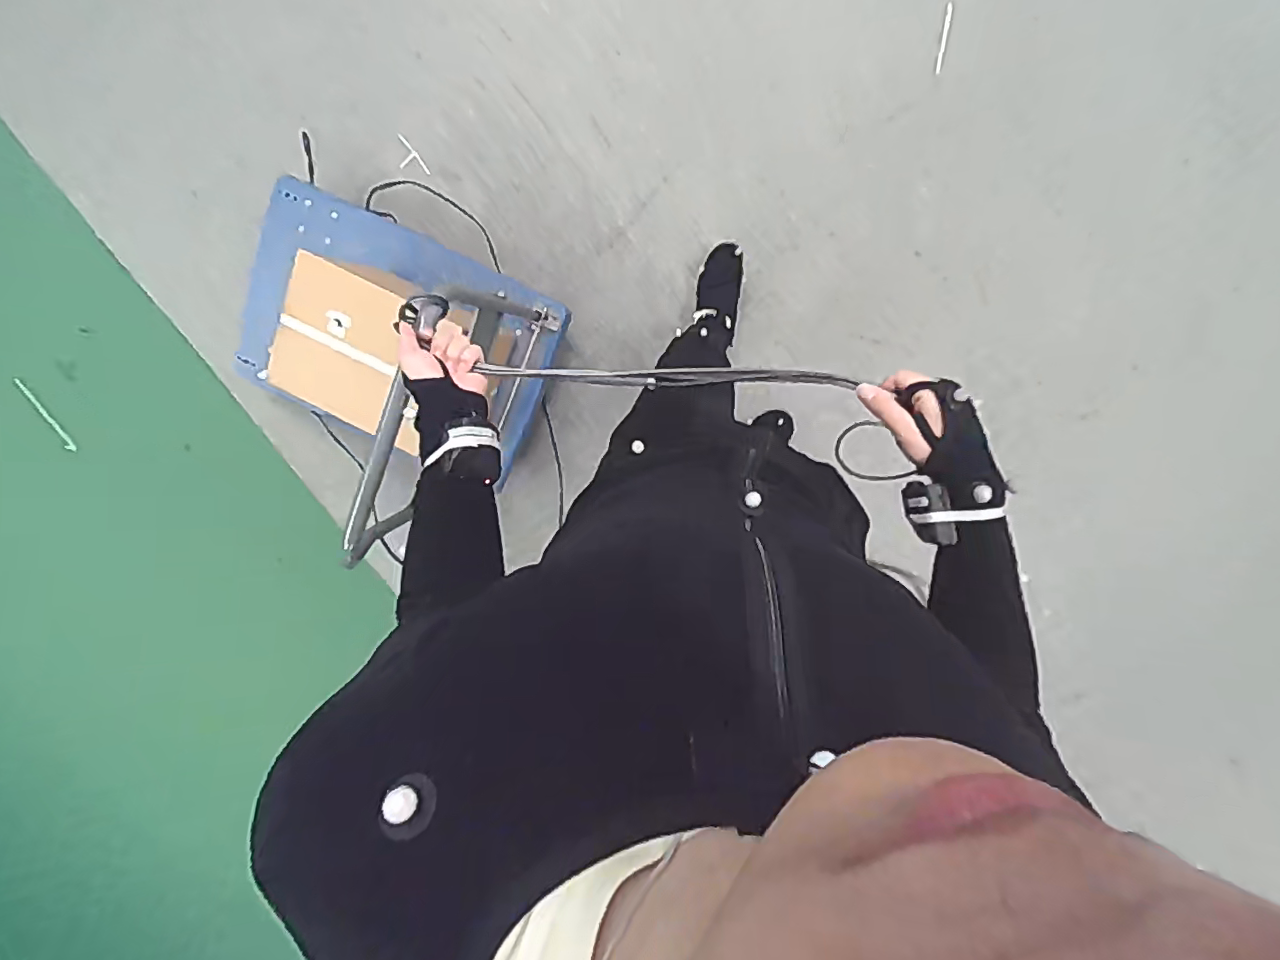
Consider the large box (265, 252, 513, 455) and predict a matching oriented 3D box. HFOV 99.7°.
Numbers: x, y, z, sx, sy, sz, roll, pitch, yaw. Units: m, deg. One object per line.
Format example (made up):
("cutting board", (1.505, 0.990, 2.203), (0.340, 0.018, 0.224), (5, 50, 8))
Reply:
("large box", (-0.588, -0.300, 1.320), (0.408, 0.320, 0.320), (27, 104, 3))
